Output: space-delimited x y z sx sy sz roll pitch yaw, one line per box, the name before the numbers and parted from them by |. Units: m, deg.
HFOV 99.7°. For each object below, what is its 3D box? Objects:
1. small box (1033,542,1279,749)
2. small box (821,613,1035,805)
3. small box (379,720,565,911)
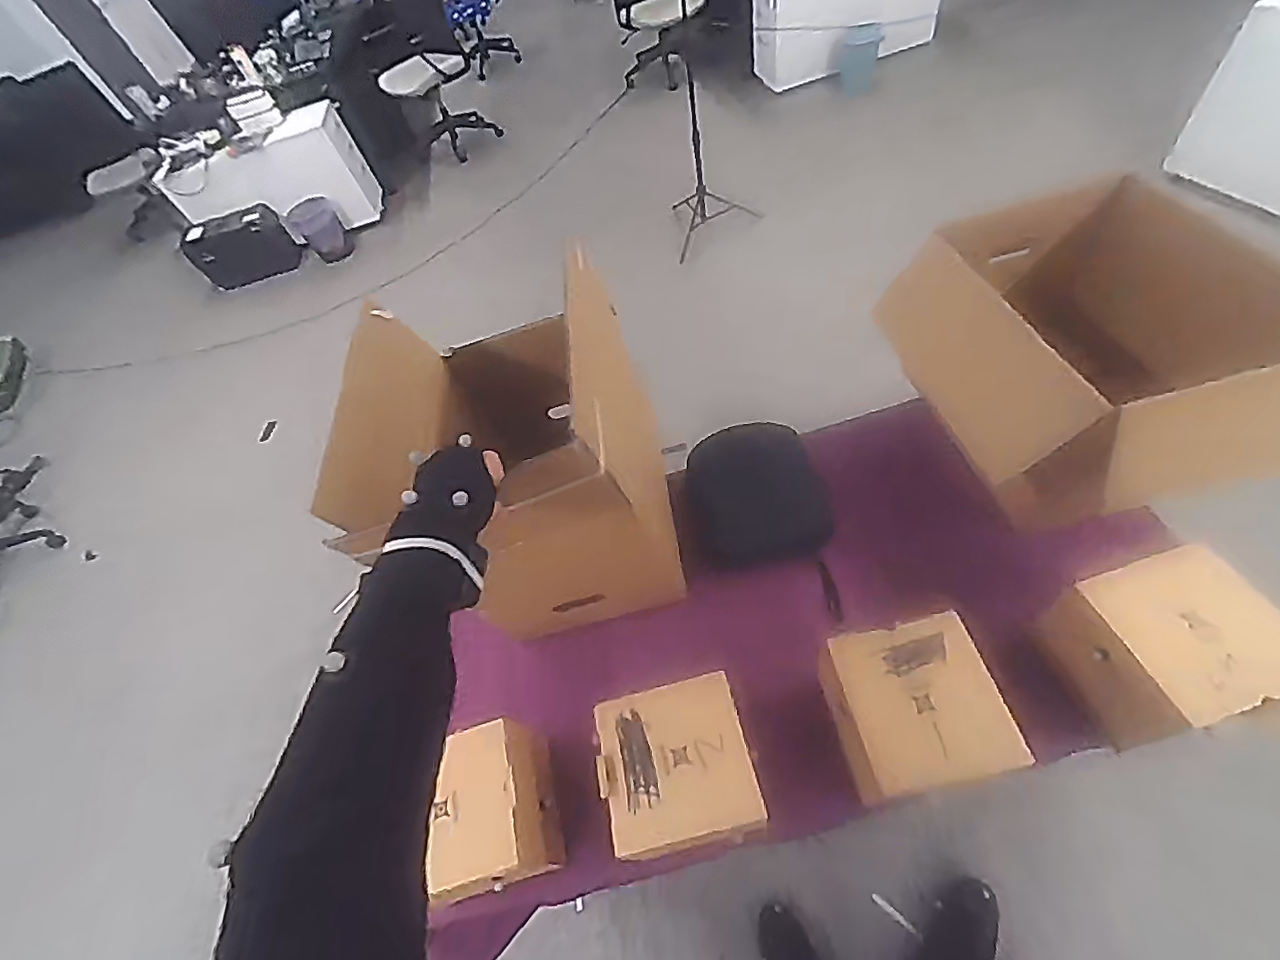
small box | 0.642 0.210 0.671 0.168 0.176 0.179 -20 54 2
small box | 0.341 0.295 0.689 0.168 0.176 0.179 -15 54 4
small box | -0.218 0.448 0.723 0.179 0.176 0.168 -18 53 -1
